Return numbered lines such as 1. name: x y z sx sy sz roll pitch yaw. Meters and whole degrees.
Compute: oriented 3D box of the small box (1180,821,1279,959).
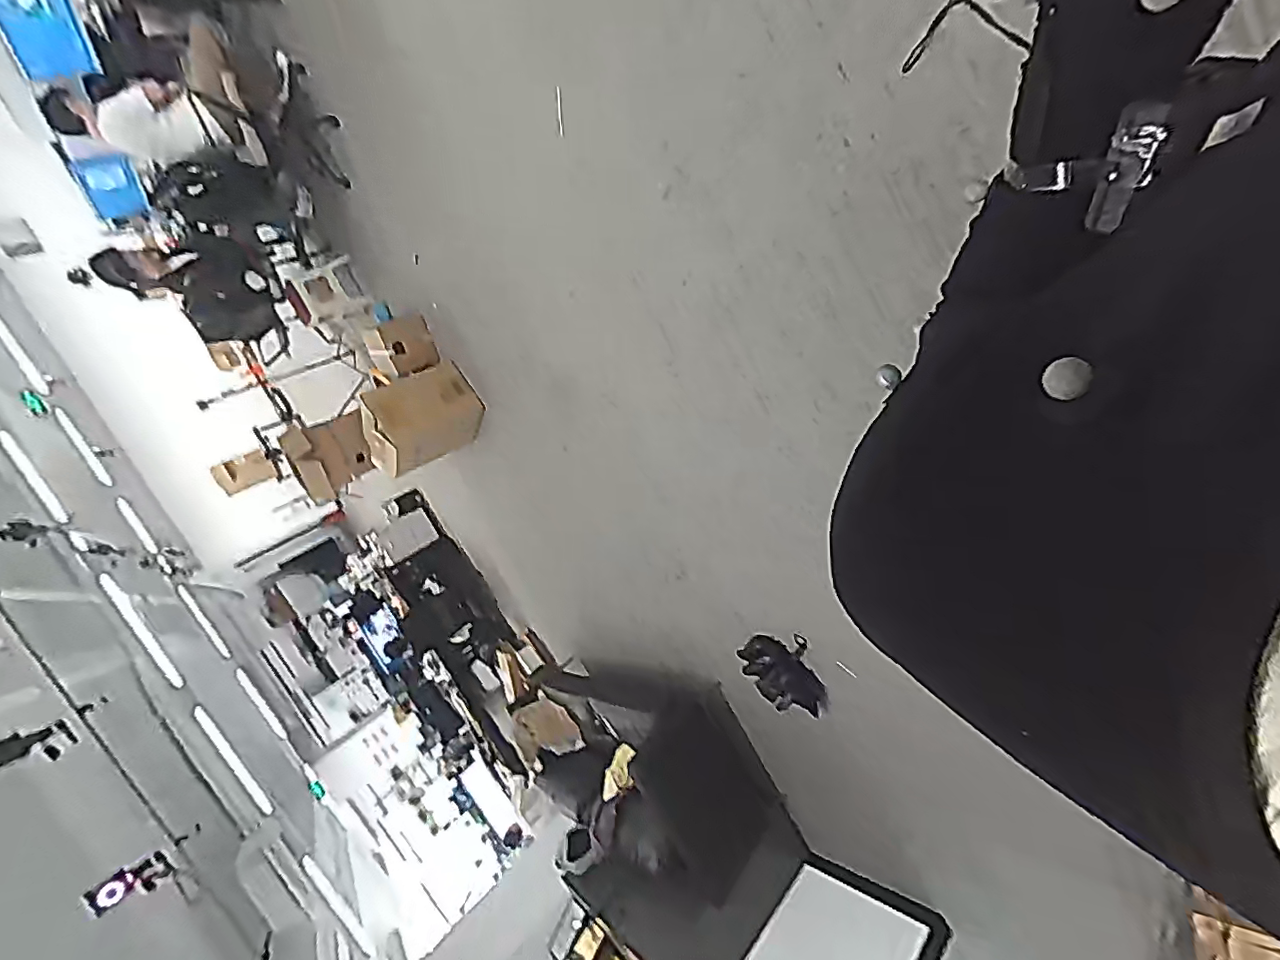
1. small box: 0.920 0.640 0.765 0.168 0.176 0.179 -20 102 57
